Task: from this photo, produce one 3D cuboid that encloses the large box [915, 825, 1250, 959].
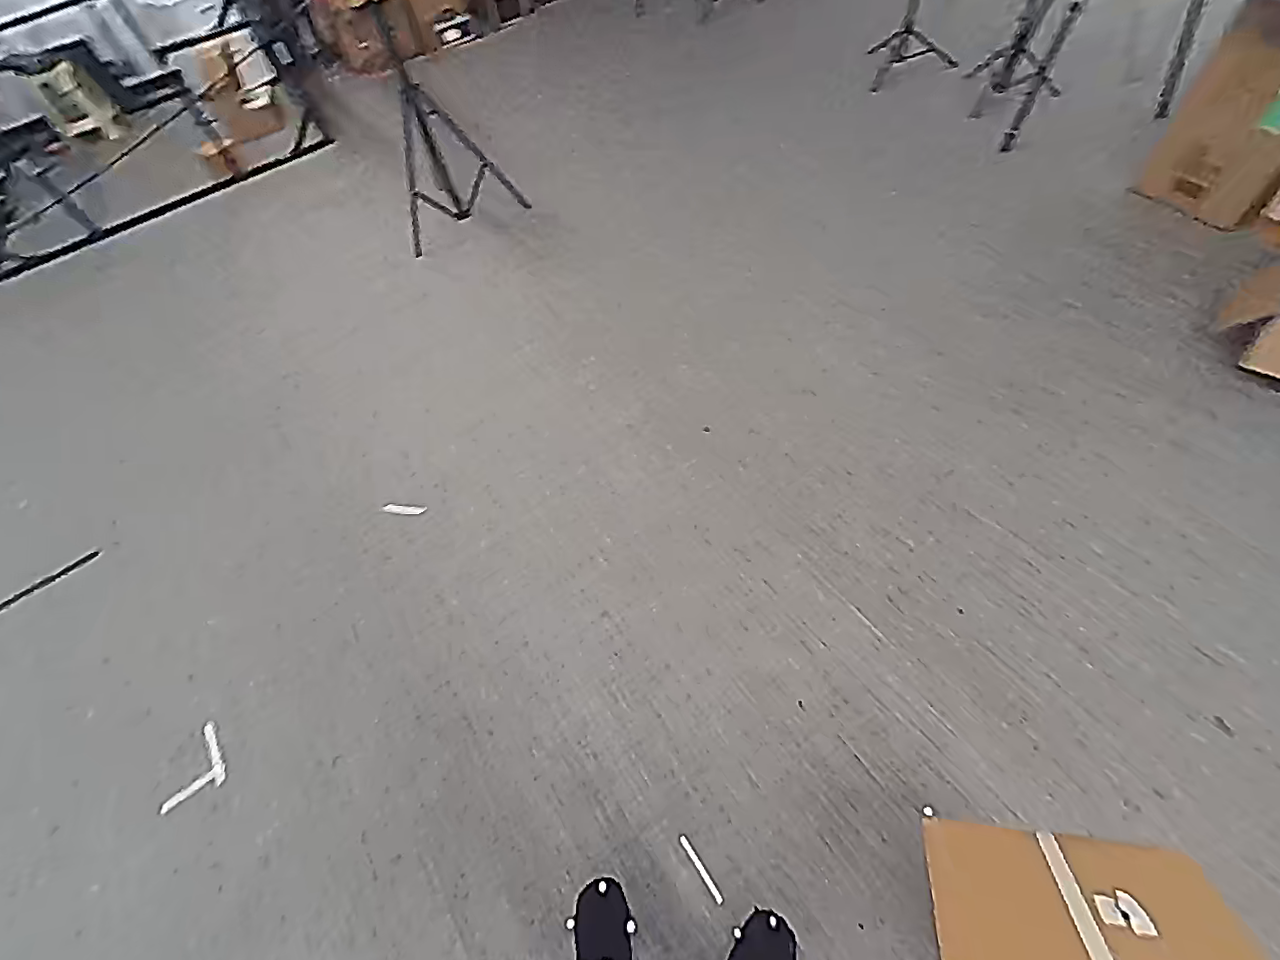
[{"bbox_3d":[0.518,0.679,0.603,0.320,0.408,0.320,-6,91,22],"label":"large box"}]
